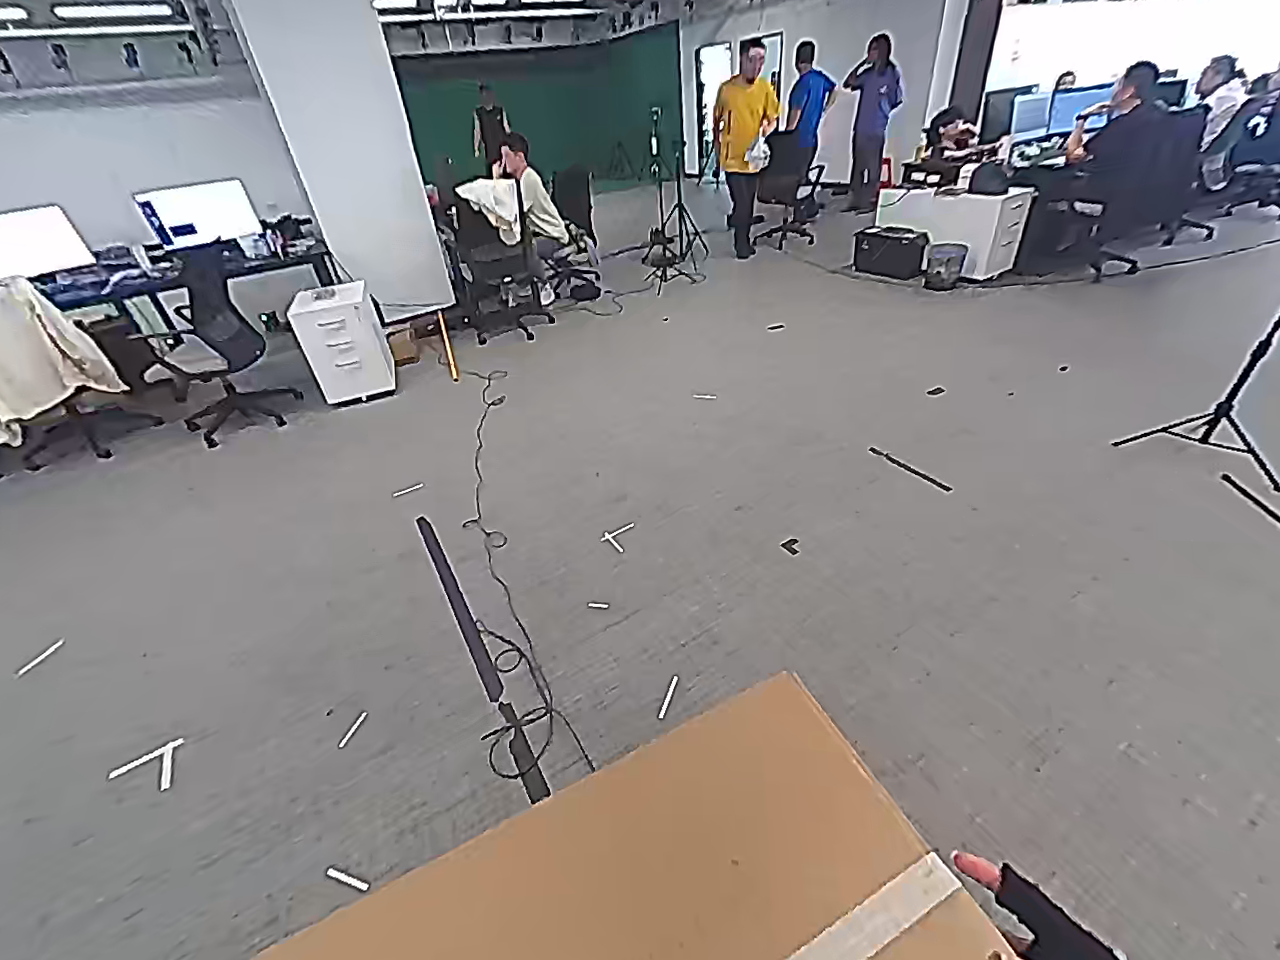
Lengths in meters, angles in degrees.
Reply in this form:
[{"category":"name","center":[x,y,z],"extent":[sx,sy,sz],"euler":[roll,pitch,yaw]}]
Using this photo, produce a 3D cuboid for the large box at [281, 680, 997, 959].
[{"category":"large box","center":[0.023,0.430,0.387],"extent":[0.408,0.320,0.320],"euler":[-21,42,-16]}]
